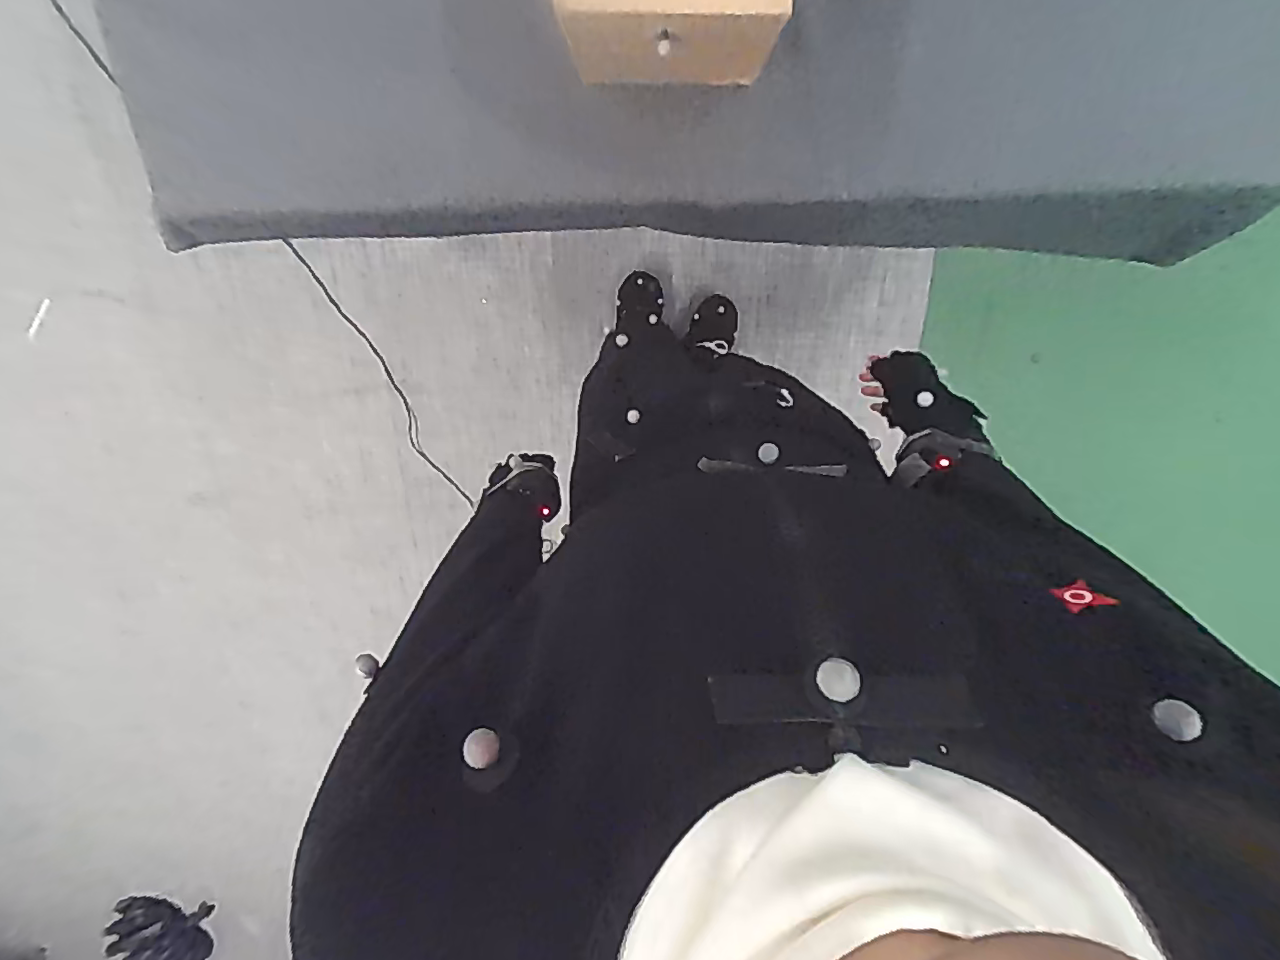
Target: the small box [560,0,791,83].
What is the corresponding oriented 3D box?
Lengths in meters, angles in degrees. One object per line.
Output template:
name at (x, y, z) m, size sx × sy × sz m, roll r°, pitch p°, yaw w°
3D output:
small box at (0.030, -0.454, 0.452) m, size 0.179 × 0.176 × 0.168 m, roll 1°, pitch 112°, yaw 1°
